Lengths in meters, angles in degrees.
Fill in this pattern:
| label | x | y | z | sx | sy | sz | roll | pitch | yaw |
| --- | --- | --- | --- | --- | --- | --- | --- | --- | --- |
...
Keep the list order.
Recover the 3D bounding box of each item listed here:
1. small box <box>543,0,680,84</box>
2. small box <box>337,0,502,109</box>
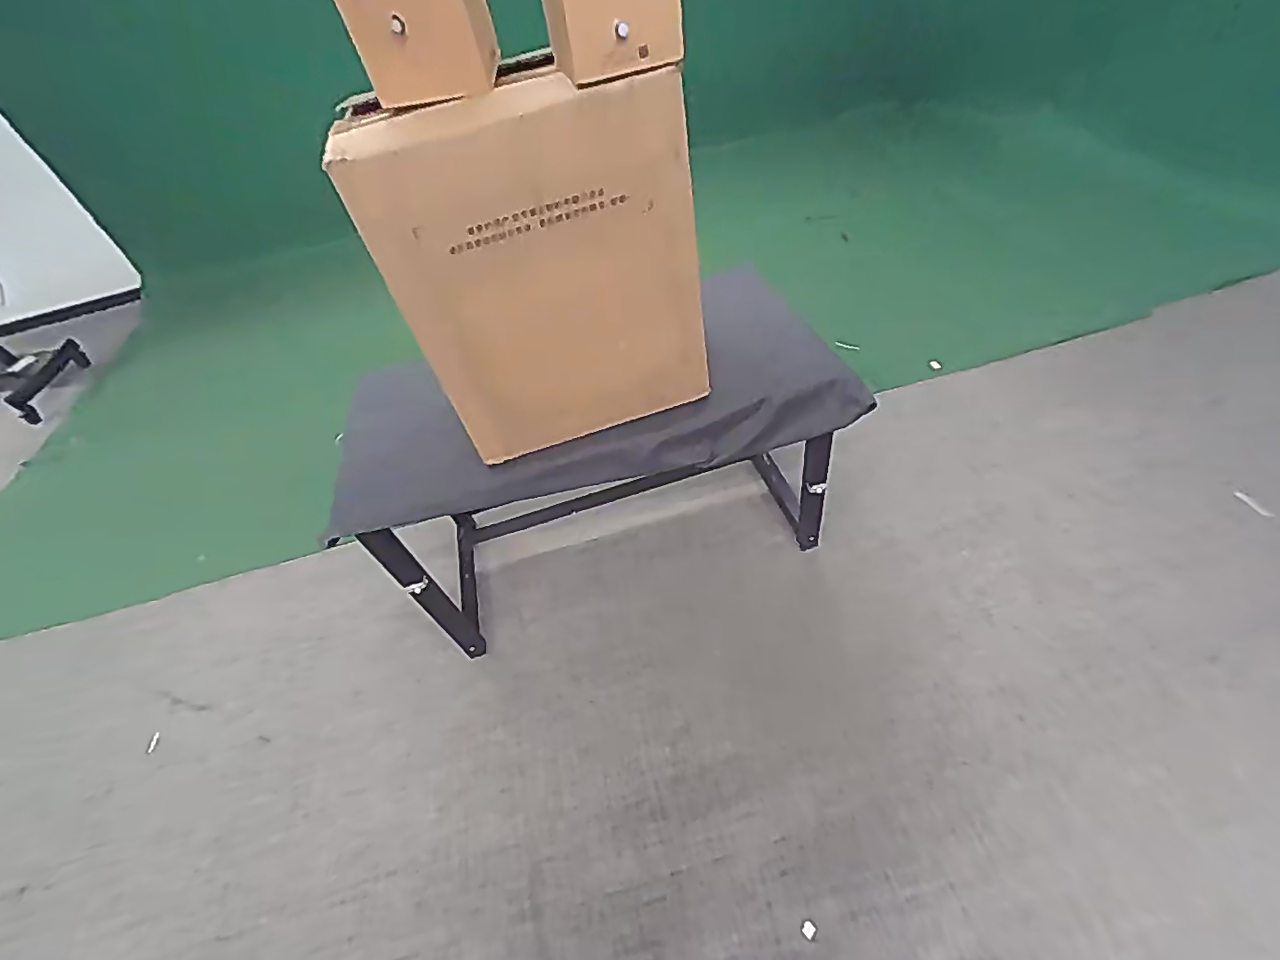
| label | x | y | z | sx | sy | sz | roll | pitch | yaw |
| --- | --- | --- | --- | --- | --- | --- | --- | --- | --- |
| small box | -0.049 | -0.698 | 0.779 | 0.168 | 0.176 | 0.179 | -18 | 48 | -5 |
| small box | -0.327 | -0.691 | 0.816 | 0.179 | 0.176 | 0.168 | -7 | 56 | 4 |
